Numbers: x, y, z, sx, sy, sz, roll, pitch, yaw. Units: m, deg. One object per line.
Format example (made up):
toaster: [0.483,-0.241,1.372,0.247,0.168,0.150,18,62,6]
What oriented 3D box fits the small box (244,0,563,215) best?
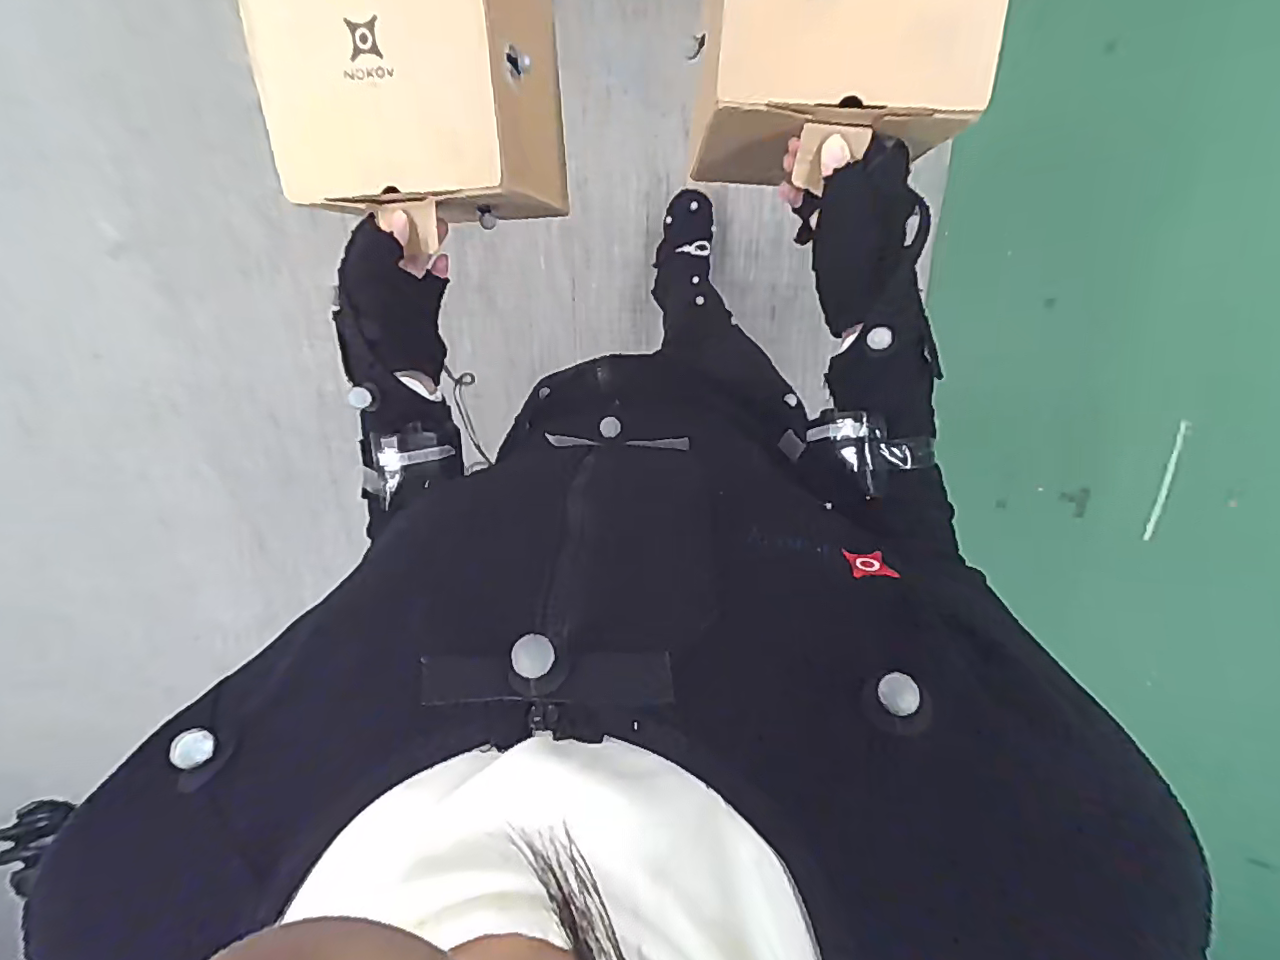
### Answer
small box: [-0.165,-0.313,0.426,0.168,0.176,0.179,0,110,9]

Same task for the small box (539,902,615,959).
small box: [-0.167,1.296,1.471,0.179,0.176,0.168,0,102,4]
